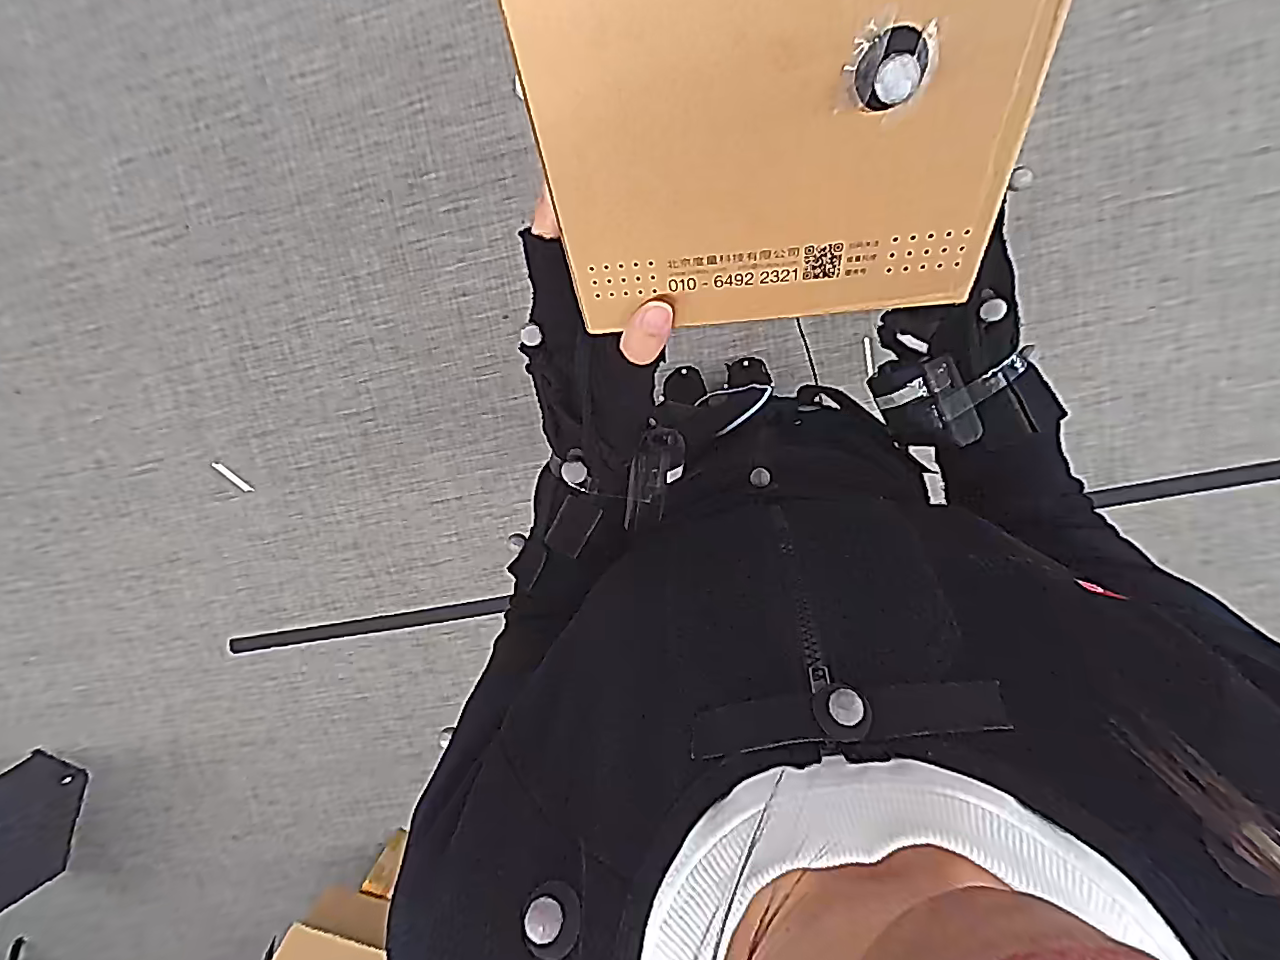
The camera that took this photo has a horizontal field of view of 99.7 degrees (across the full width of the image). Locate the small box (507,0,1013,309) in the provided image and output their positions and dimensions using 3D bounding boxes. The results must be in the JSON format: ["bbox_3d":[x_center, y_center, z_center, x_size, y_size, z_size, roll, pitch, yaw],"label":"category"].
[{"bbox_3d":[0.053,-0.194,0.250,0.168,0.179,0.176,-1,140,10],"label":"small box"}]
